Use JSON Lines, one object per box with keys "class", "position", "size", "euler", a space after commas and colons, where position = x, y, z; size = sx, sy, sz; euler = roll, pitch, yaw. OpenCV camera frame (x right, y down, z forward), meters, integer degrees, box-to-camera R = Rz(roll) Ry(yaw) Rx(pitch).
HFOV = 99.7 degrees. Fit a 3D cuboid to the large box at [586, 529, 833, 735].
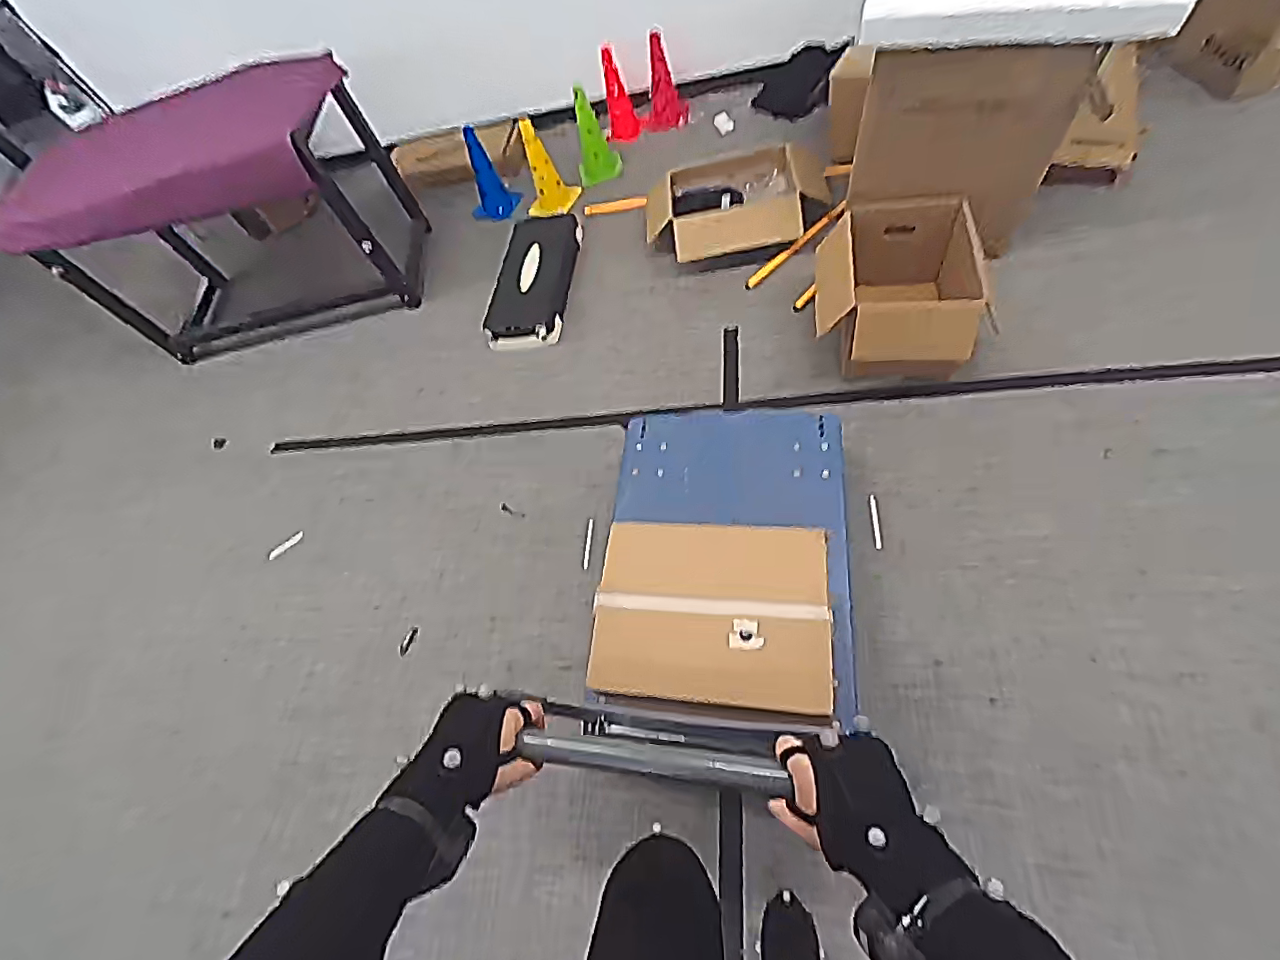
{"class": "large box", "position": [0.143, 0.303, 1.060], "size": [0.408, 0.320, 0.320], "euler": [1, 62, 13]}
